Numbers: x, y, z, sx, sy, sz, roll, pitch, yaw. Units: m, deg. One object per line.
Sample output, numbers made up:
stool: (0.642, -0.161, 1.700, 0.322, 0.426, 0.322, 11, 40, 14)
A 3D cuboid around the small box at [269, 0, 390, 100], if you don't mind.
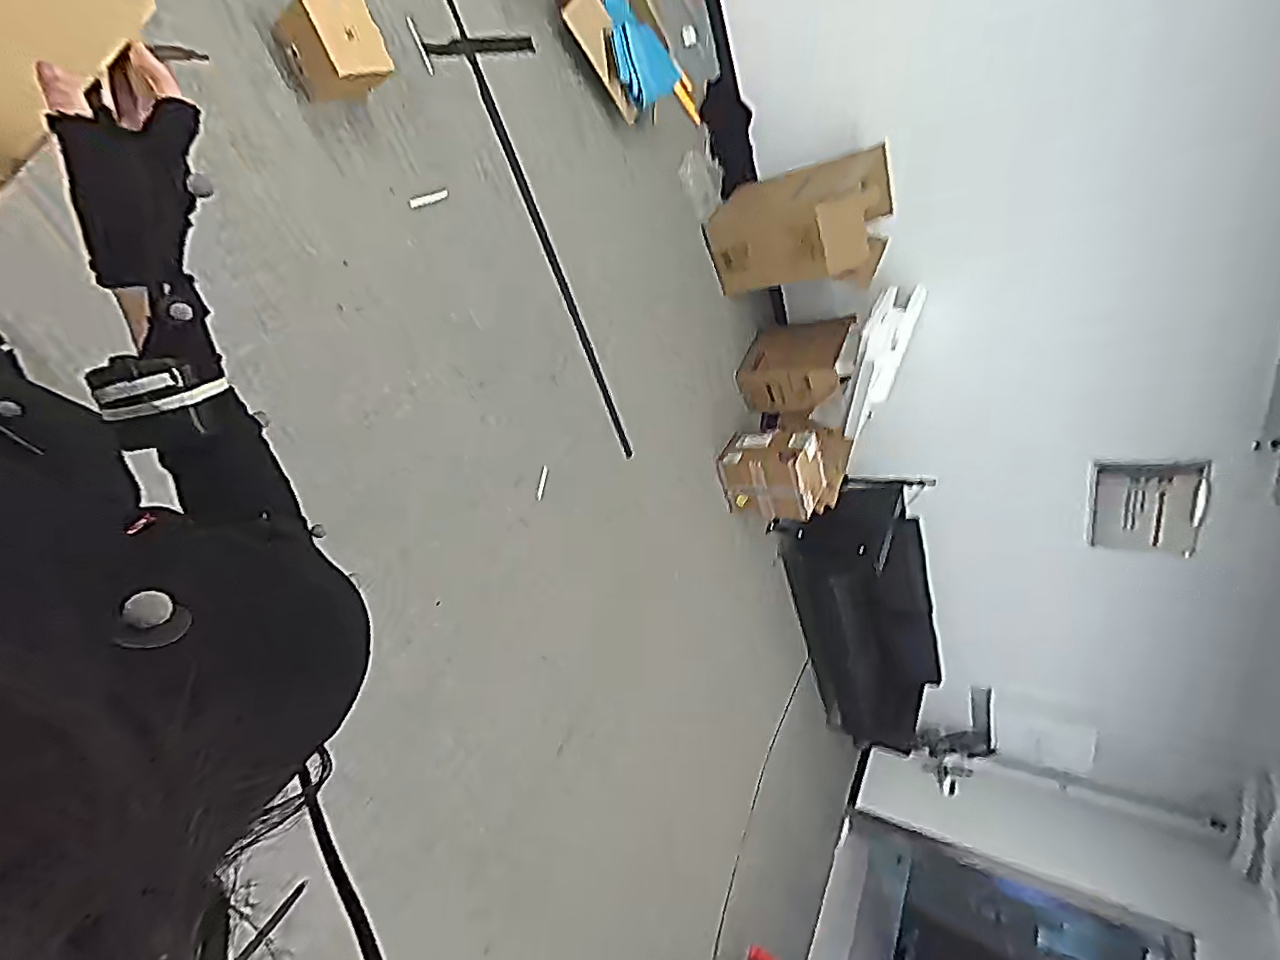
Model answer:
small box: (-0.784, -1.092, 1.367, 0.179, 0.176, 0.168, -47, 127, -41)
